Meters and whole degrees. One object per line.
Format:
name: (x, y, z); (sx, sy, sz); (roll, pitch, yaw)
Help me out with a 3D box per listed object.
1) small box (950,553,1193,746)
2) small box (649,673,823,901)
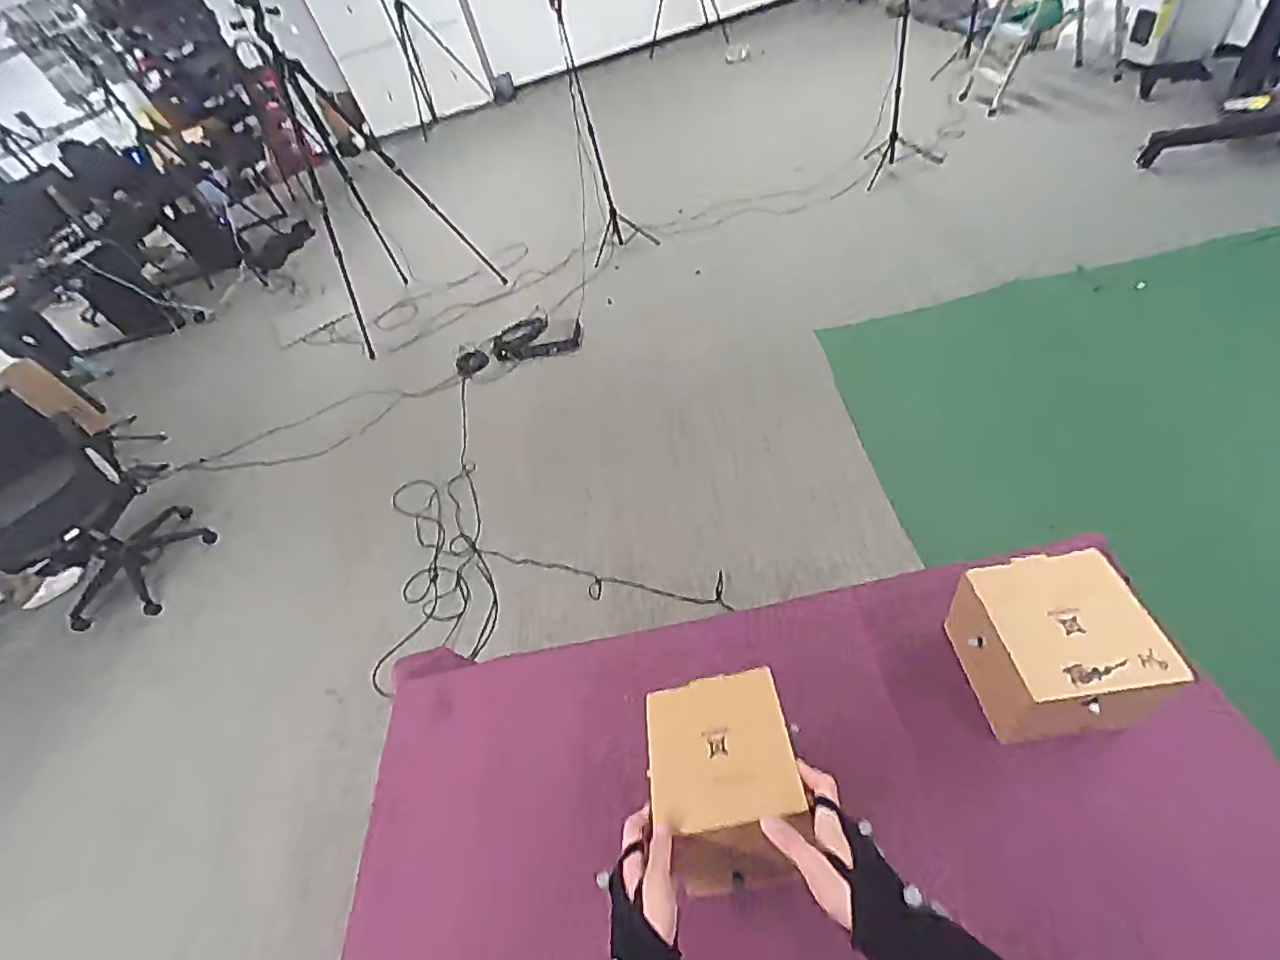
small box: (0.534, 0.224, 0.708); (0.168, 0.176, 0.179); (-12, 47, 9)
small box: (0.112, 0.372, 0.662); (0.168, 0.176, 0.179); (-15, 33, 8)
